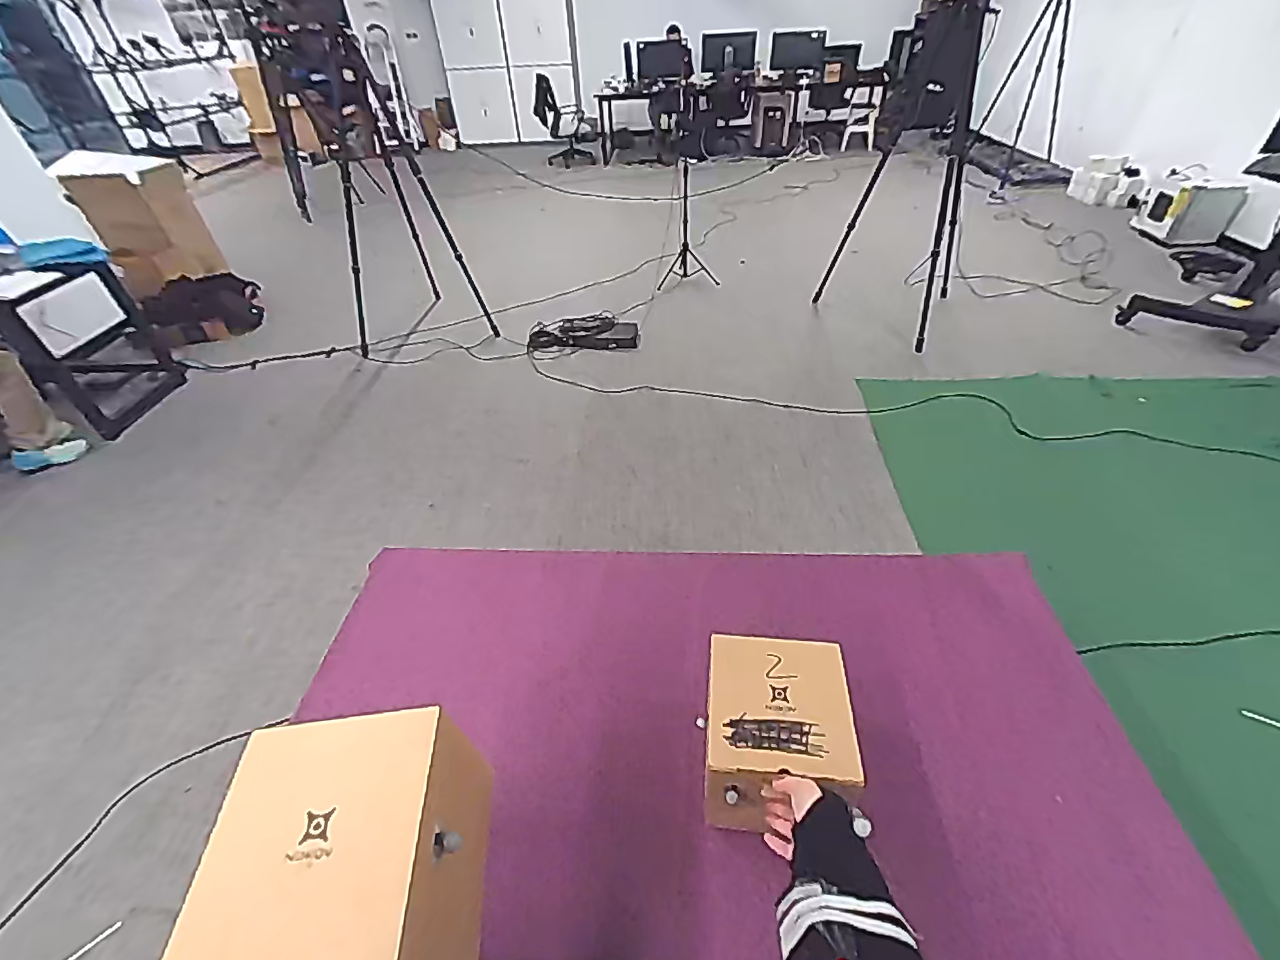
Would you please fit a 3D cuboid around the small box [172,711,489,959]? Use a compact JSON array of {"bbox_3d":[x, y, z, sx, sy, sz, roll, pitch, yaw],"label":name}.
[{"bbox_3d":[-0.241,0.332,0.479,0.168,0.176,0.179,-7,45,0],"label":"small box"}]
